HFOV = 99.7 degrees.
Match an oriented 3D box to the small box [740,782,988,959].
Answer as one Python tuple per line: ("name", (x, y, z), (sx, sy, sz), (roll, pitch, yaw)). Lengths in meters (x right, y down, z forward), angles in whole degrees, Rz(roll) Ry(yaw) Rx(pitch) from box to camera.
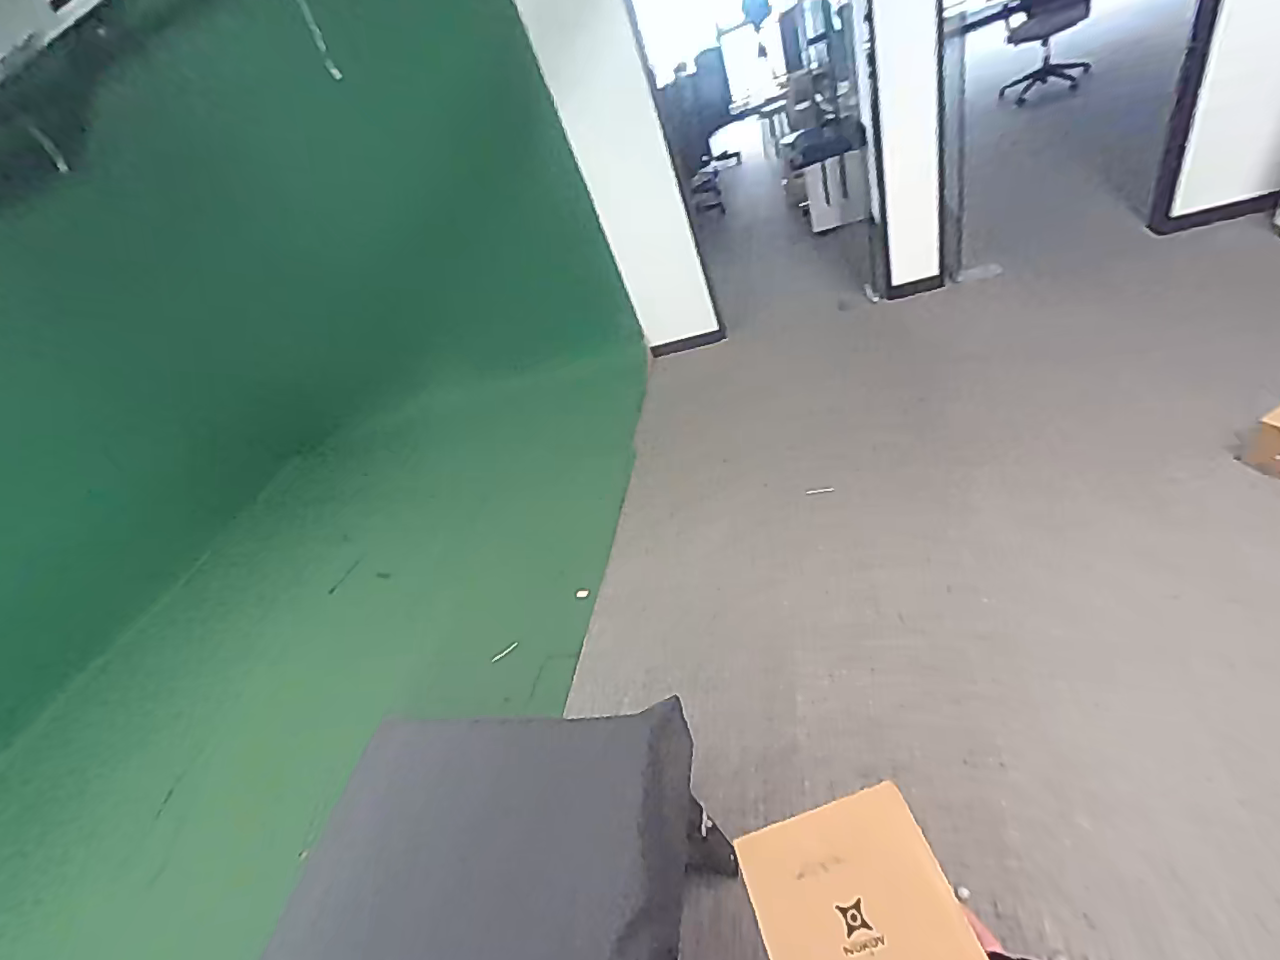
("small box", (0.218, 0.423, 0.522), (0.168, 0.176, 0.179), (-24, 47, 6))
